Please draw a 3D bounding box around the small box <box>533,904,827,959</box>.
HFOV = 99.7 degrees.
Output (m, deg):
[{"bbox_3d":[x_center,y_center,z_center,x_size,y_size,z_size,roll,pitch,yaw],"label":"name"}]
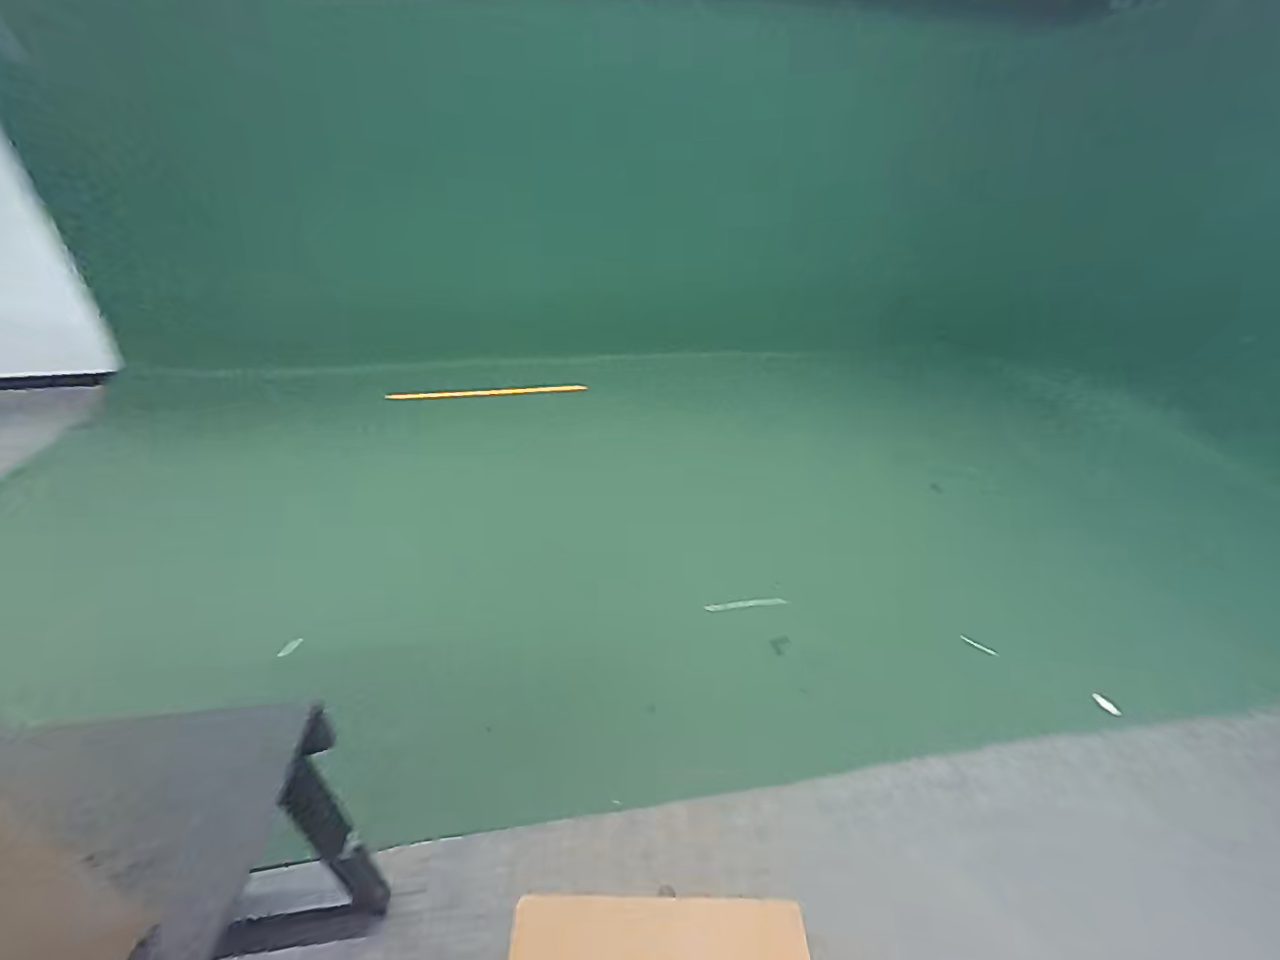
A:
[{"bbox_3d":[0.013,0.375,0.313,0.179,0.176,0.168,7,37,-5],"label":"small box"}]
